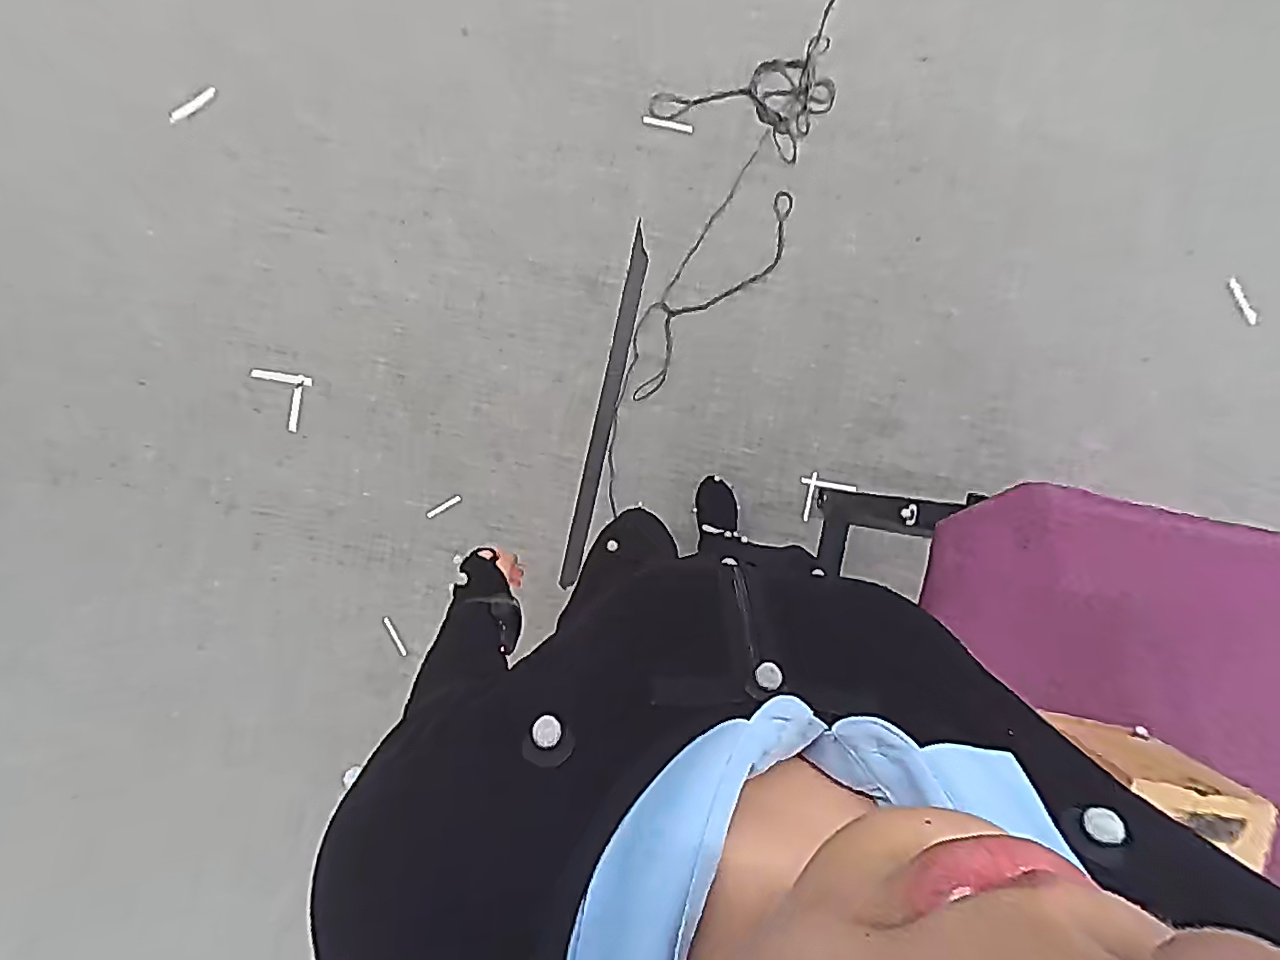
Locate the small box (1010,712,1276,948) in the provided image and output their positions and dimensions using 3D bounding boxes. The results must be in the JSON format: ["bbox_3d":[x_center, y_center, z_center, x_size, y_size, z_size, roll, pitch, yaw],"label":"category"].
[{"bbox_3d":[0.613,0.423,0.685,0.168,0.176,0.179,12,93,1],"label":"small box"}]
